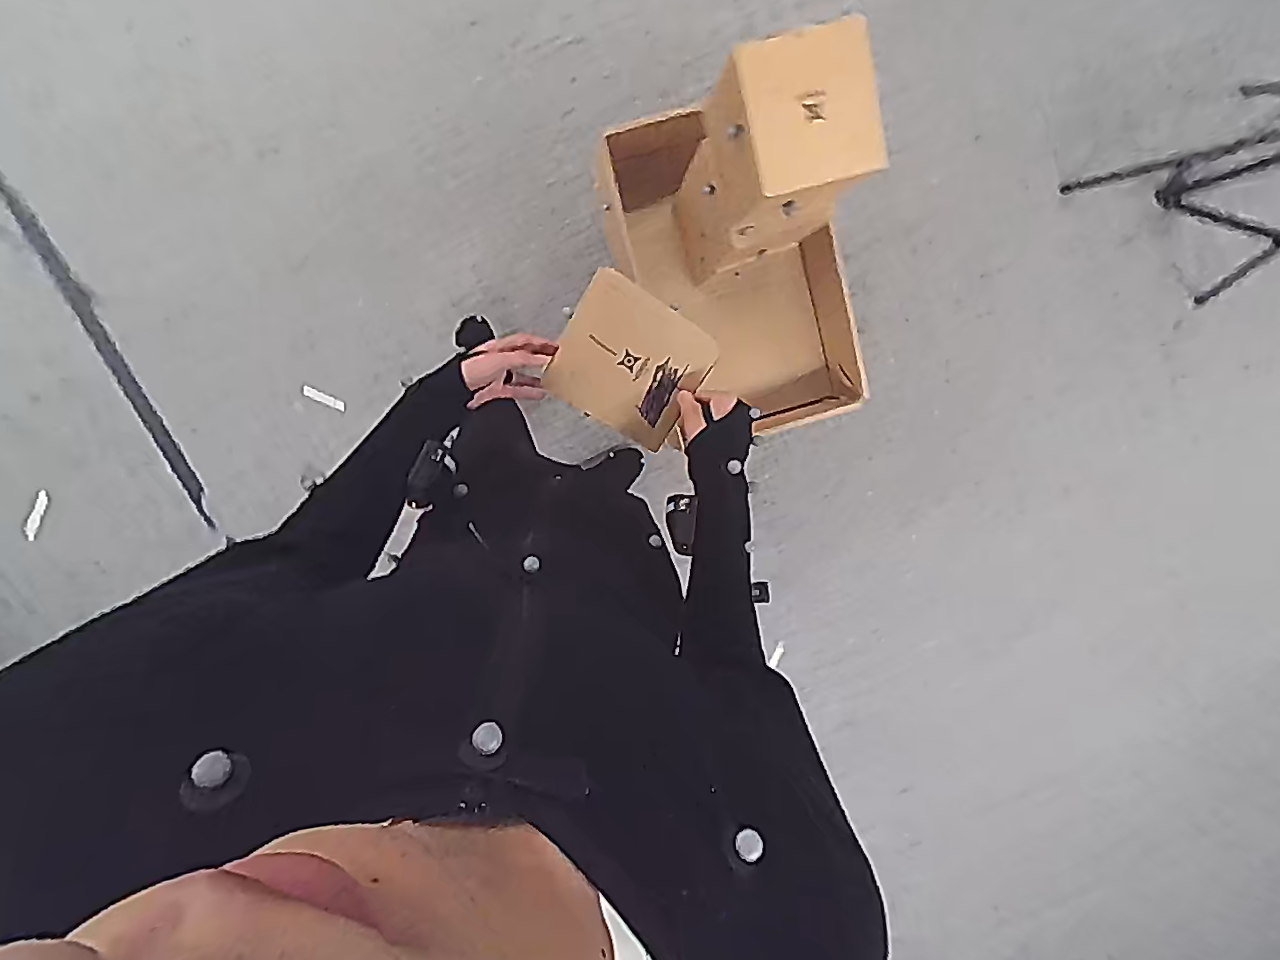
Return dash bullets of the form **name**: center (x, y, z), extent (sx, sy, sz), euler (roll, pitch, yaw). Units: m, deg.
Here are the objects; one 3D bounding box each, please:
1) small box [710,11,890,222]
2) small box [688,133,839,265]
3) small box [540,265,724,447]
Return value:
- **small box**: center (0.206, -0.469, 0.731), extent (0.168, 0.176, 0.179), euler (-16, 102, -3)
- **small box**: center (0.196, -0.476, 0.896), extent (0.179, 0.176, 0.168), euler (-19, 102, -3)
- **small box**: center (-0.019, -0.174, 0.738), extent (0.179, 0.176, 0.168), euler (29, 103, -17)
